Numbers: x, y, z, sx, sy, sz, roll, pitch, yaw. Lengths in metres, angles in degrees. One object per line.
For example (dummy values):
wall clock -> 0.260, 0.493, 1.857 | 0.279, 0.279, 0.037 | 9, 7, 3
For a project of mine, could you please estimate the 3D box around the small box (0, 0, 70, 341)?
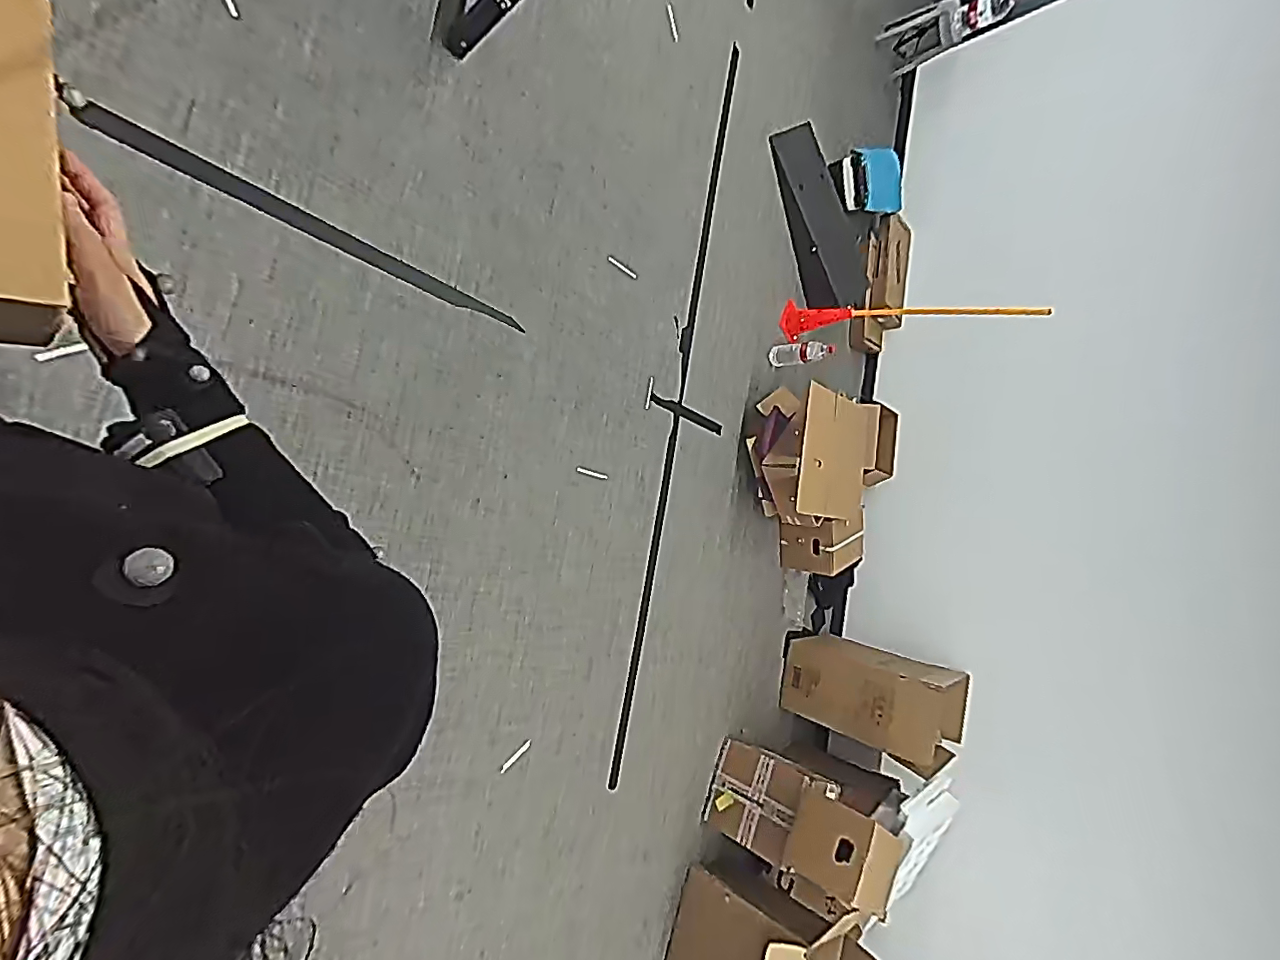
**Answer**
small box -> -0.434, -0.181, 0.291 | 0.168, 0.176, 0.179 | -5, 93, -50
